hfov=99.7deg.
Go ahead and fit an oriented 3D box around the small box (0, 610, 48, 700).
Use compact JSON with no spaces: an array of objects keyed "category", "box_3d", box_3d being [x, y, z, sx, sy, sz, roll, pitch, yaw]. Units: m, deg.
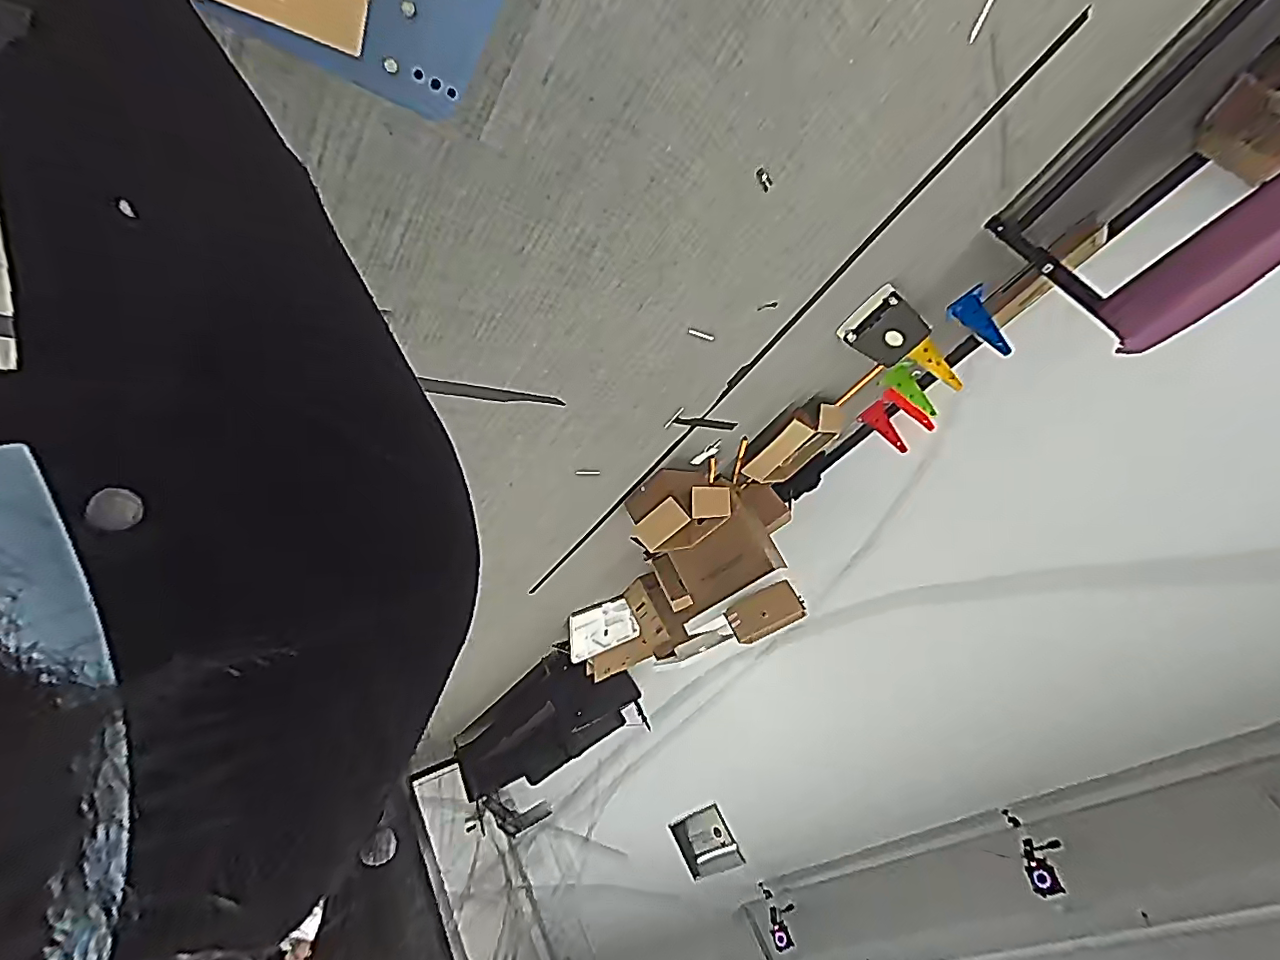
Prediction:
[{"category":"small box","box_3d":[-1.675,0.462,1.399,0.168,0.176,0.179,-11,150,-41]}]
